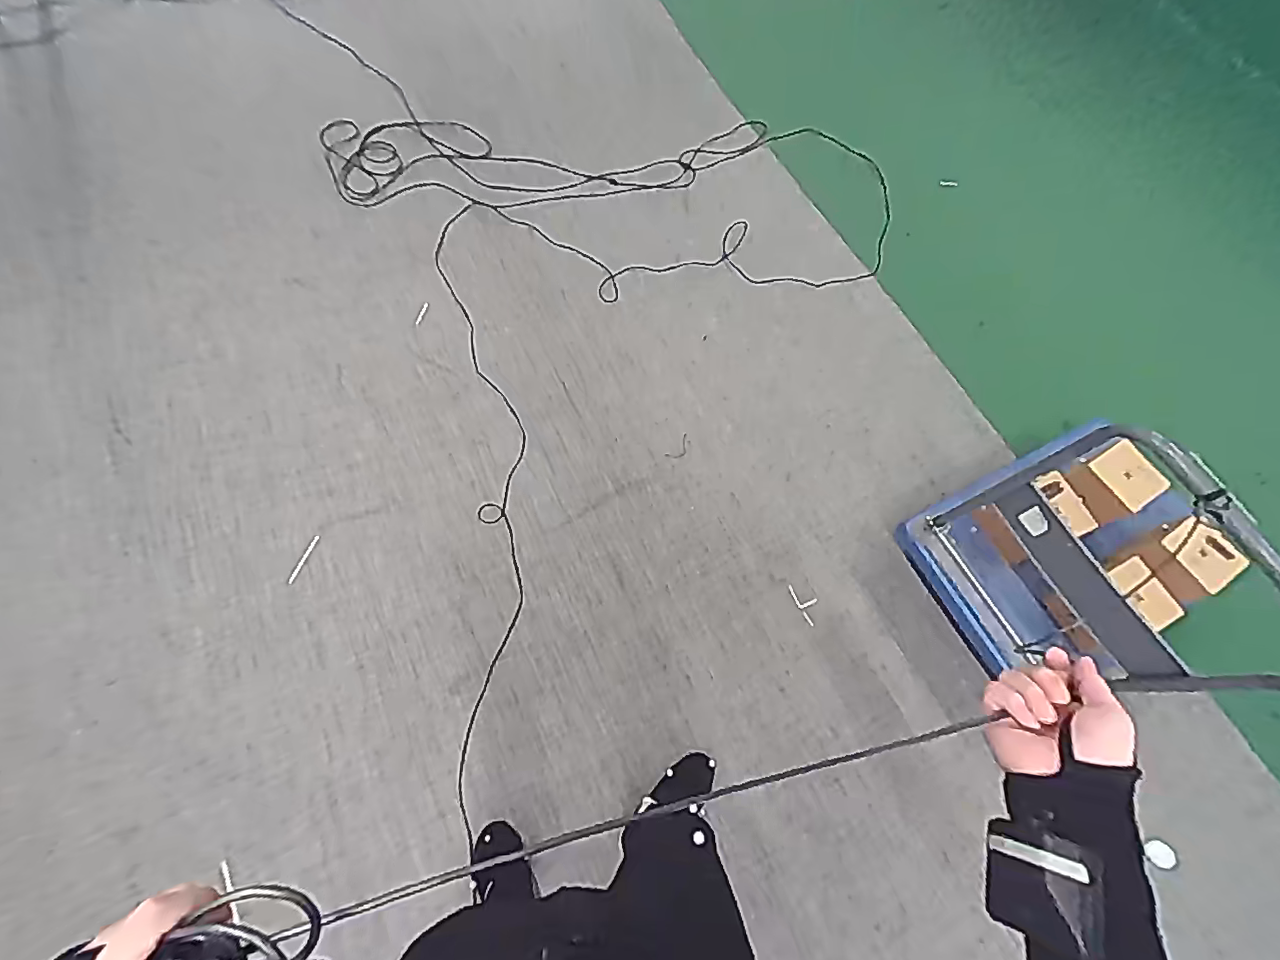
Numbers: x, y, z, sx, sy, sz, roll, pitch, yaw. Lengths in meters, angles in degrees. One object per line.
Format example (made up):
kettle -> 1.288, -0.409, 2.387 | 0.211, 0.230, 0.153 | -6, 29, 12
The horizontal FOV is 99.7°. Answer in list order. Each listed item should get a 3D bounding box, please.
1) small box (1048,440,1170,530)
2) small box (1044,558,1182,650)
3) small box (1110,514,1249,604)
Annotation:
small box -> 1.323, 0.020, 1.544 | 0.179, 0.176, 0.168 | -27, 72, -16
small box -> 1.211, 0.325, 1.399 | 0.179, 0.176, 0.168 | -22, 71, -14
small box -> 1.451, 0.222, 1.468 | 0.179, 0.176, 0.168 | -27, 71, -15
